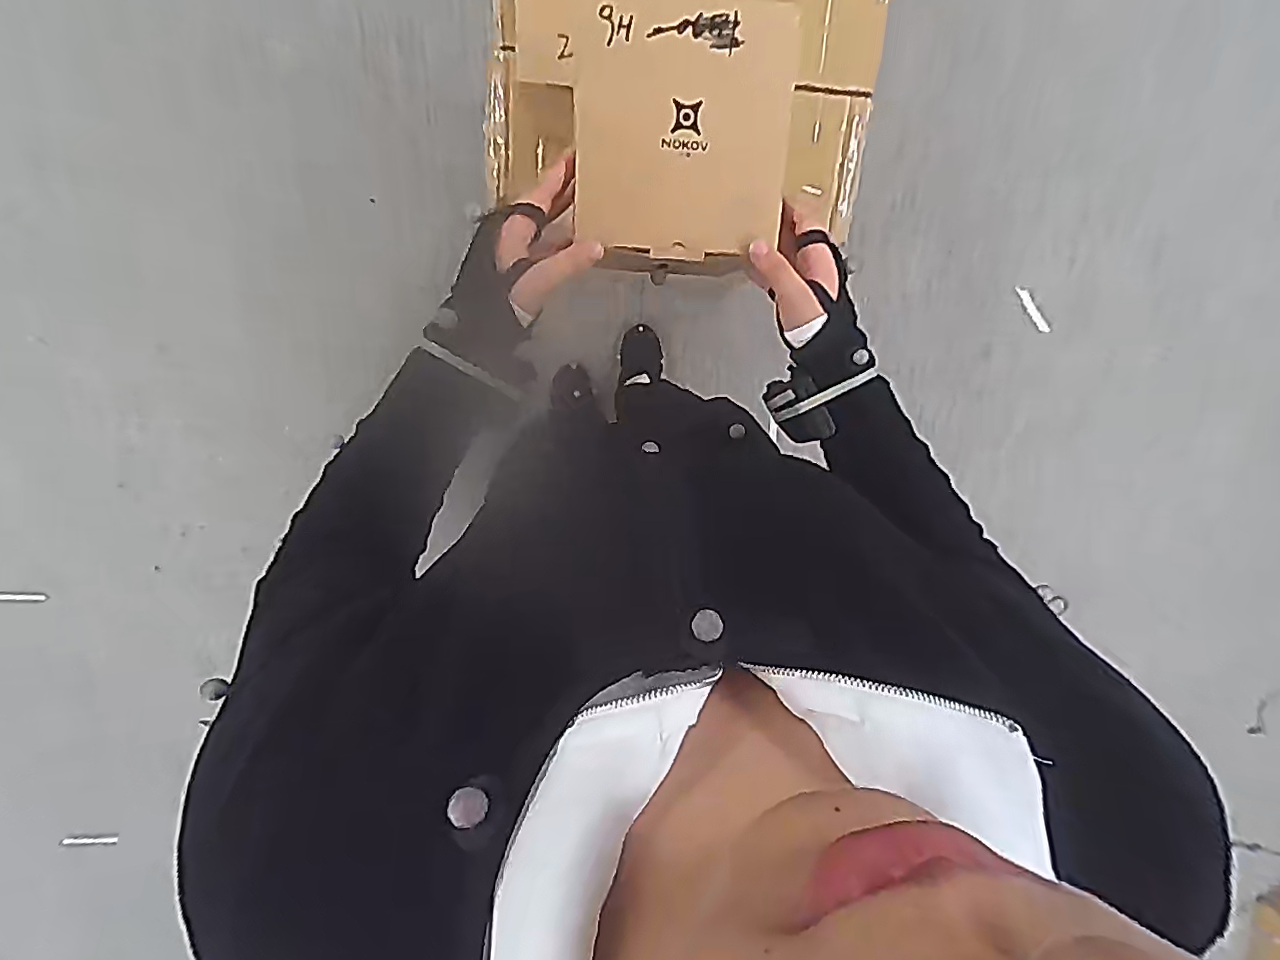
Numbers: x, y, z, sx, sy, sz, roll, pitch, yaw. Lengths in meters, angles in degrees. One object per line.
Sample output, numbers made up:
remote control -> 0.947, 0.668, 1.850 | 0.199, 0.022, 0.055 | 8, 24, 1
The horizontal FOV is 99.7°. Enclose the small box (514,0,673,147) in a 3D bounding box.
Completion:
small box -> -0.055, -0.520, 0.631 | 0.168, 0.176, 0.179 | 1, 106, -6
